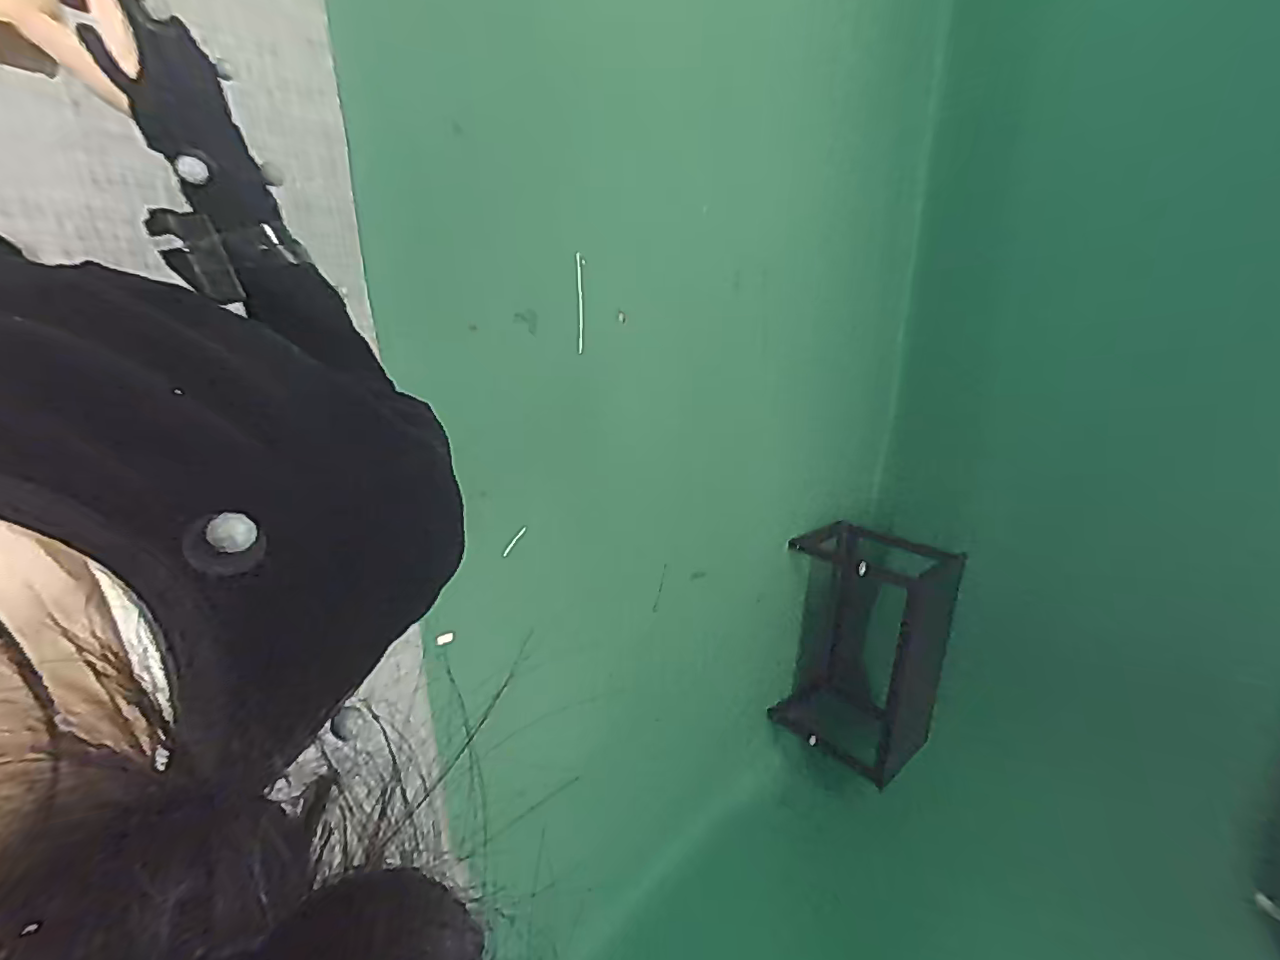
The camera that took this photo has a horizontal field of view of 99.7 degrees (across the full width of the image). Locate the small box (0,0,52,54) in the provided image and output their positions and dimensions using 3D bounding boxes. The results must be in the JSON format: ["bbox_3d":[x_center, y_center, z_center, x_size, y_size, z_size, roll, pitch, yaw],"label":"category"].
[{"bbox_3d":[-0.471,-0.369,0.298,0.179,0.176,0.168,-12,118,-44],"label":"small box"}]
